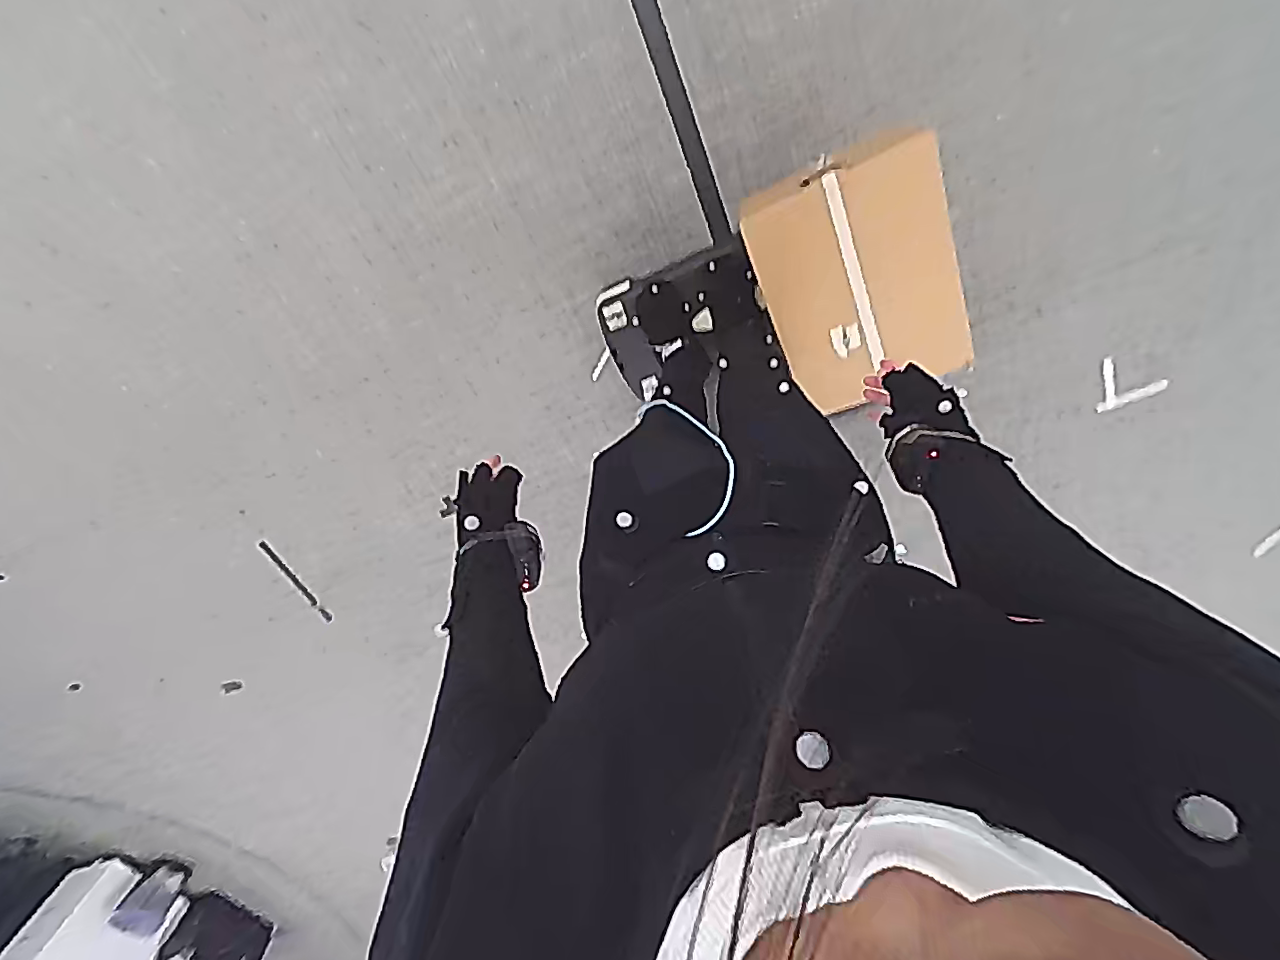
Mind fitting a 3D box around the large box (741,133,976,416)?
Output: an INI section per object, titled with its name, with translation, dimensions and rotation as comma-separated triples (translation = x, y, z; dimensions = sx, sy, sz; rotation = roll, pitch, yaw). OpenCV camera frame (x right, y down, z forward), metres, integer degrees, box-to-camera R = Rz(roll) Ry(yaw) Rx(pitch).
[large box]
translation = 0.418, -0.410, 1.088
dimensions = 0.320, 0.320, 0.408
rotation = -18, 118, 21
